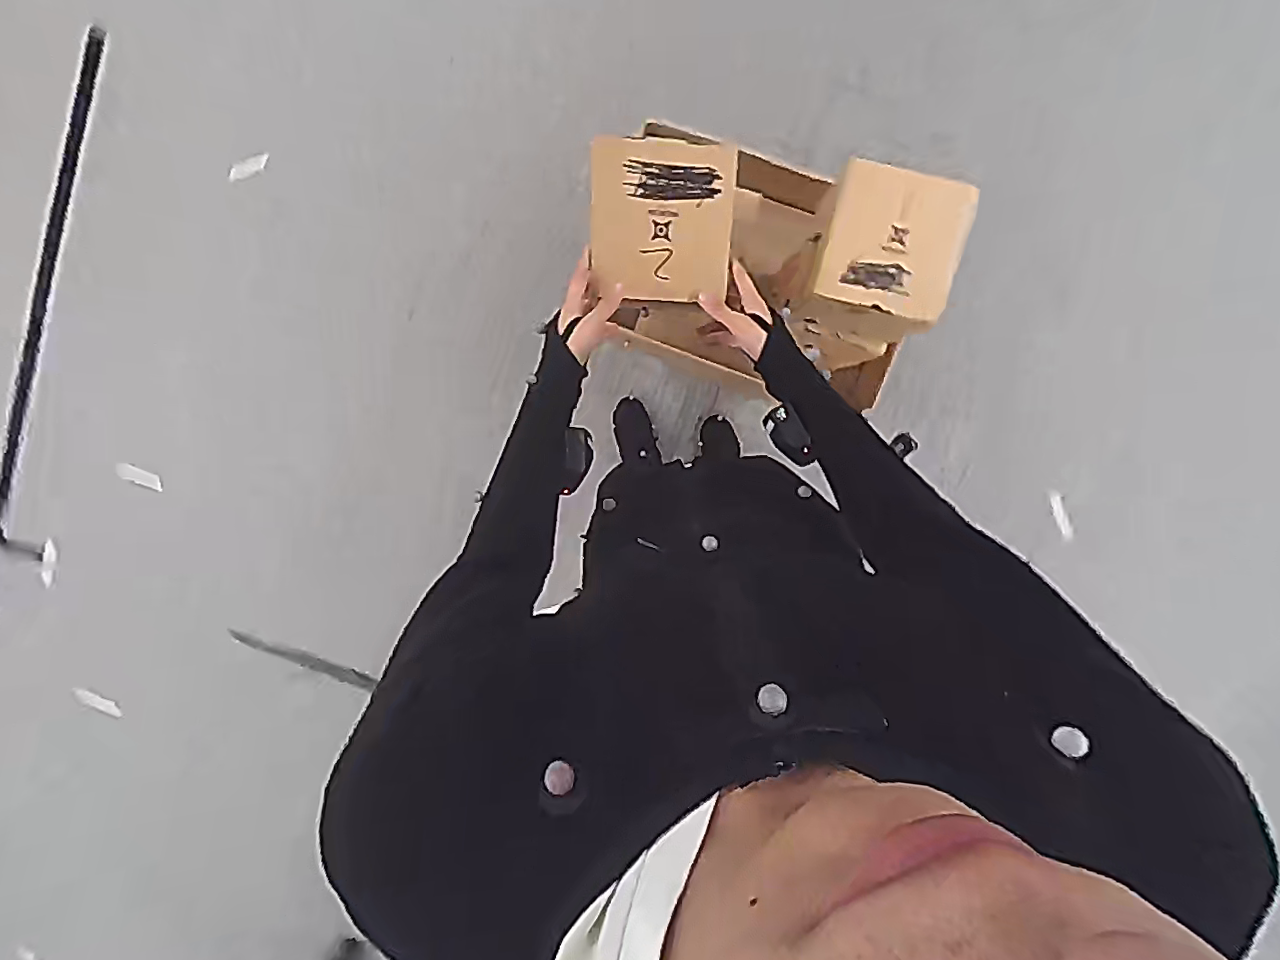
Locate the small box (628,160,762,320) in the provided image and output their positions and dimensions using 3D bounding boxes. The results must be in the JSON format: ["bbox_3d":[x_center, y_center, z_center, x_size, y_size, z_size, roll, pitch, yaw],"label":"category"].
[{"bbox_3d":[0.087,-0.398,0.929,0.168,0.176,0.179,21,96,1],"label":"small box"}]

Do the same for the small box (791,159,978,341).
[{"bbox_3d":[0.326,-0.307,0.763,0.168,0.176,0.179,15,97,1],"label":"small box"}]

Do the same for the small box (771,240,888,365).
[{"bbox_3d":[0.337,-0.311,0.927,0.168,0.176,0.179,18,98,1],"label":"small box"}]
